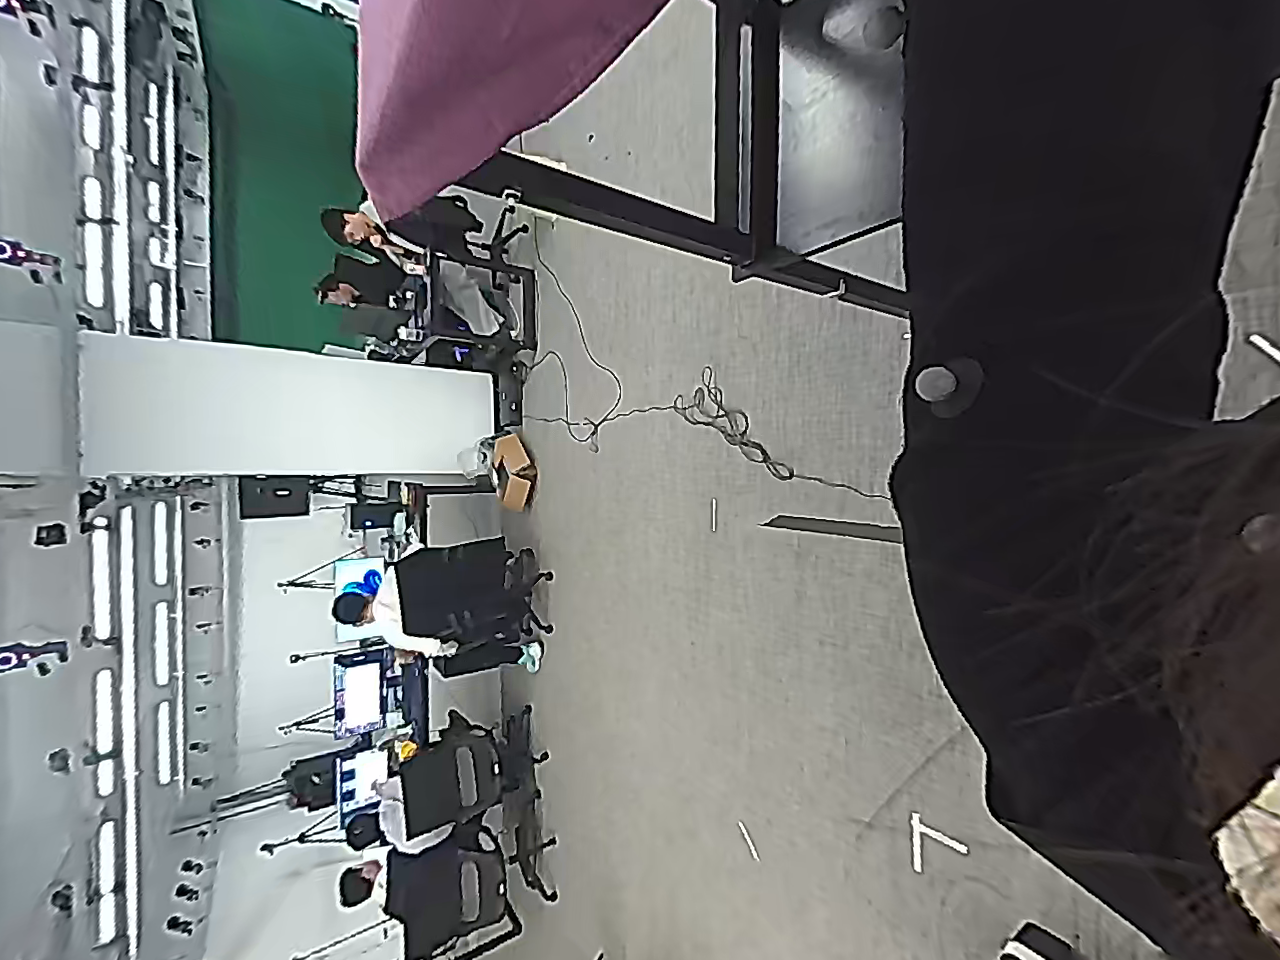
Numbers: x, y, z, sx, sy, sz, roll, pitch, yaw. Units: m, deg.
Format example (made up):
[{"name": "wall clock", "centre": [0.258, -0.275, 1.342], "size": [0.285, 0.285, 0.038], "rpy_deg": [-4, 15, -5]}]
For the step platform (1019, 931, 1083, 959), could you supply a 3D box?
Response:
[{"name": "step platform", "centre": [1.085, 1.273, 1.025], "size": [0.684, 0.204, 0.286], "rpy_deg": [12, 100, 54]}]
